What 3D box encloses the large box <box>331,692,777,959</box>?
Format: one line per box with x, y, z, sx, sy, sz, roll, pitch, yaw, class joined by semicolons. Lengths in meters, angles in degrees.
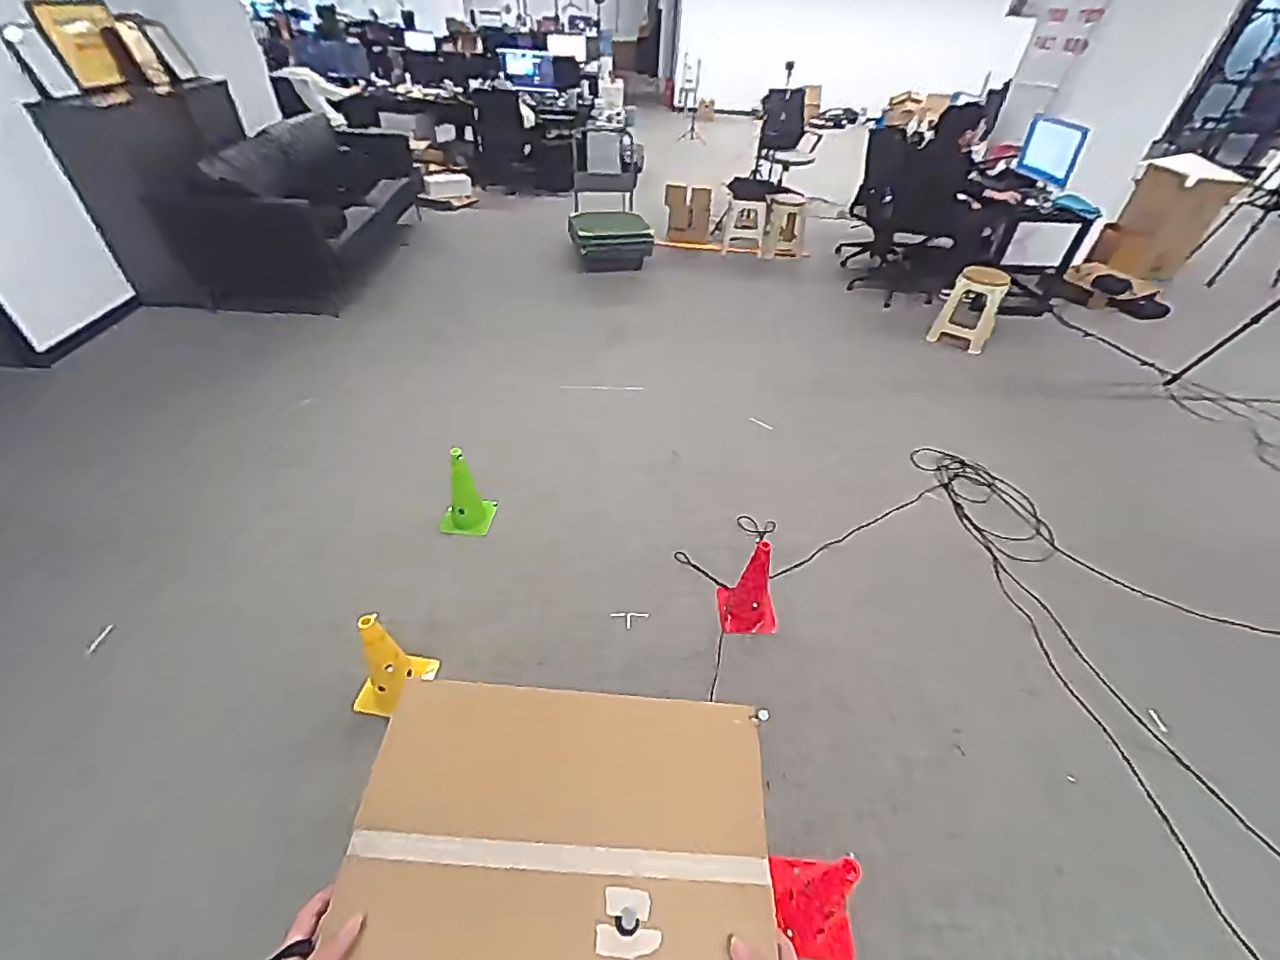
-0.084;0.470;0.639;0.408;0.320;0.320;5;51;-2;large box

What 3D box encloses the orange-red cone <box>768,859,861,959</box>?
0.420;0.932;1.212;0.199;0.360;0.198;7;42;2;orange-red cone

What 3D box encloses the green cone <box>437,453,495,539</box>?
-0.718;0.038;2.147;0.200;0.368;0.202;5;43;2;green cone
